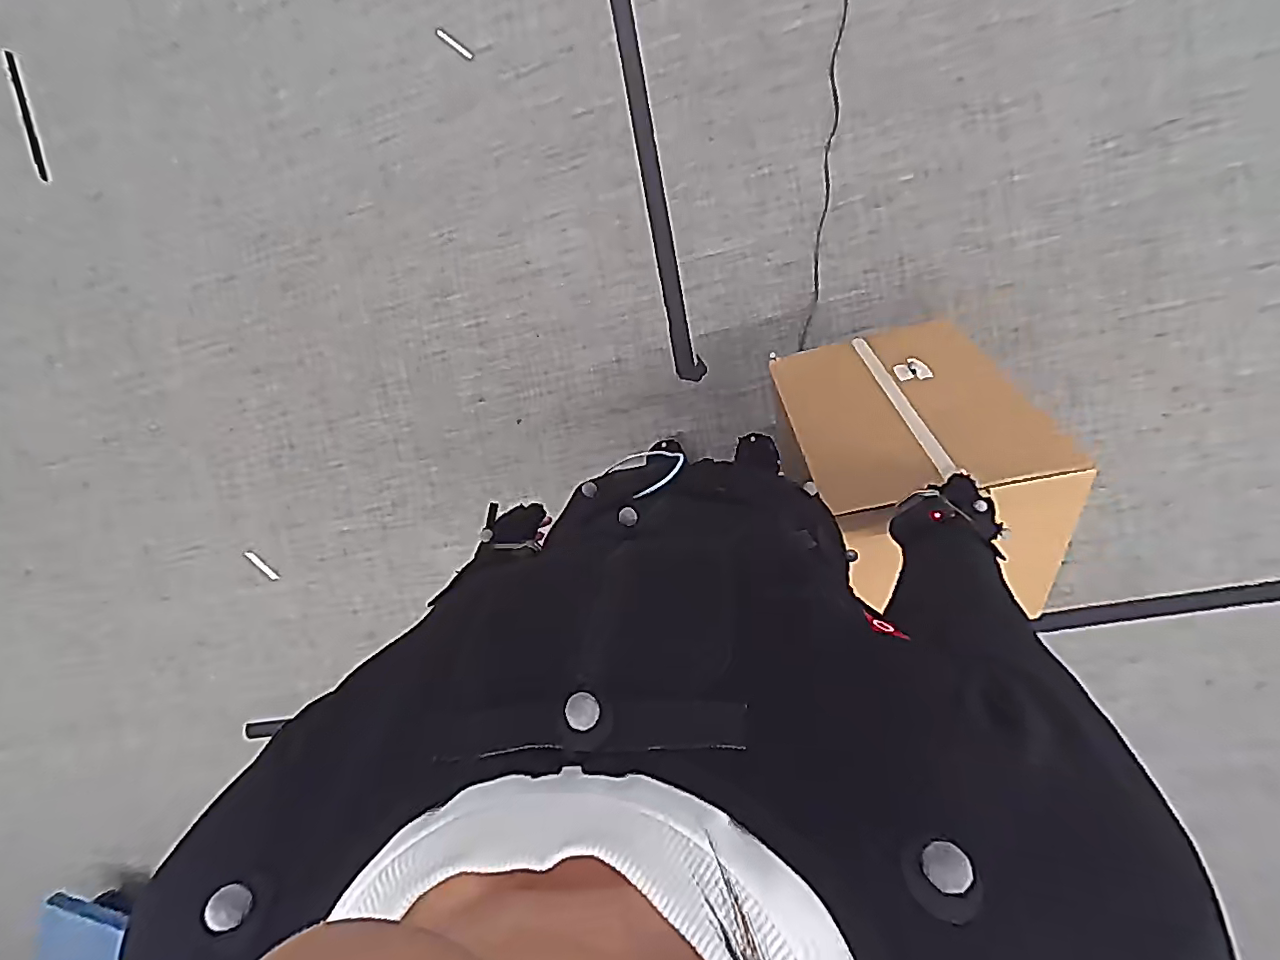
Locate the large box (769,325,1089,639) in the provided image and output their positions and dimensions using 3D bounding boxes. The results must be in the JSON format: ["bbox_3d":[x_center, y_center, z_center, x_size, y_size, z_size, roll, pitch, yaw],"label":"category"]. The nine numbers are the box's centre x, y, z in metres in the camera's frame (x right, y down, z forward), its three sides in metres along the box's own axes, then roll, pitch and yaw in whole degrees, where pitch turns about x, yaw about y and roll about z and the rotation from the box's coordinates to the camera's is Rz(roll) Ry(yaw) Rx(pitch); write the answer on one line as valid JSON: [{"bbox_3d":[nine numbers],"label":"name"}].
[{"bbox_3d":[0.428,-0.005,0.913,0.320,0.408,0.320,-11,130,7],"label":"large box"}]
